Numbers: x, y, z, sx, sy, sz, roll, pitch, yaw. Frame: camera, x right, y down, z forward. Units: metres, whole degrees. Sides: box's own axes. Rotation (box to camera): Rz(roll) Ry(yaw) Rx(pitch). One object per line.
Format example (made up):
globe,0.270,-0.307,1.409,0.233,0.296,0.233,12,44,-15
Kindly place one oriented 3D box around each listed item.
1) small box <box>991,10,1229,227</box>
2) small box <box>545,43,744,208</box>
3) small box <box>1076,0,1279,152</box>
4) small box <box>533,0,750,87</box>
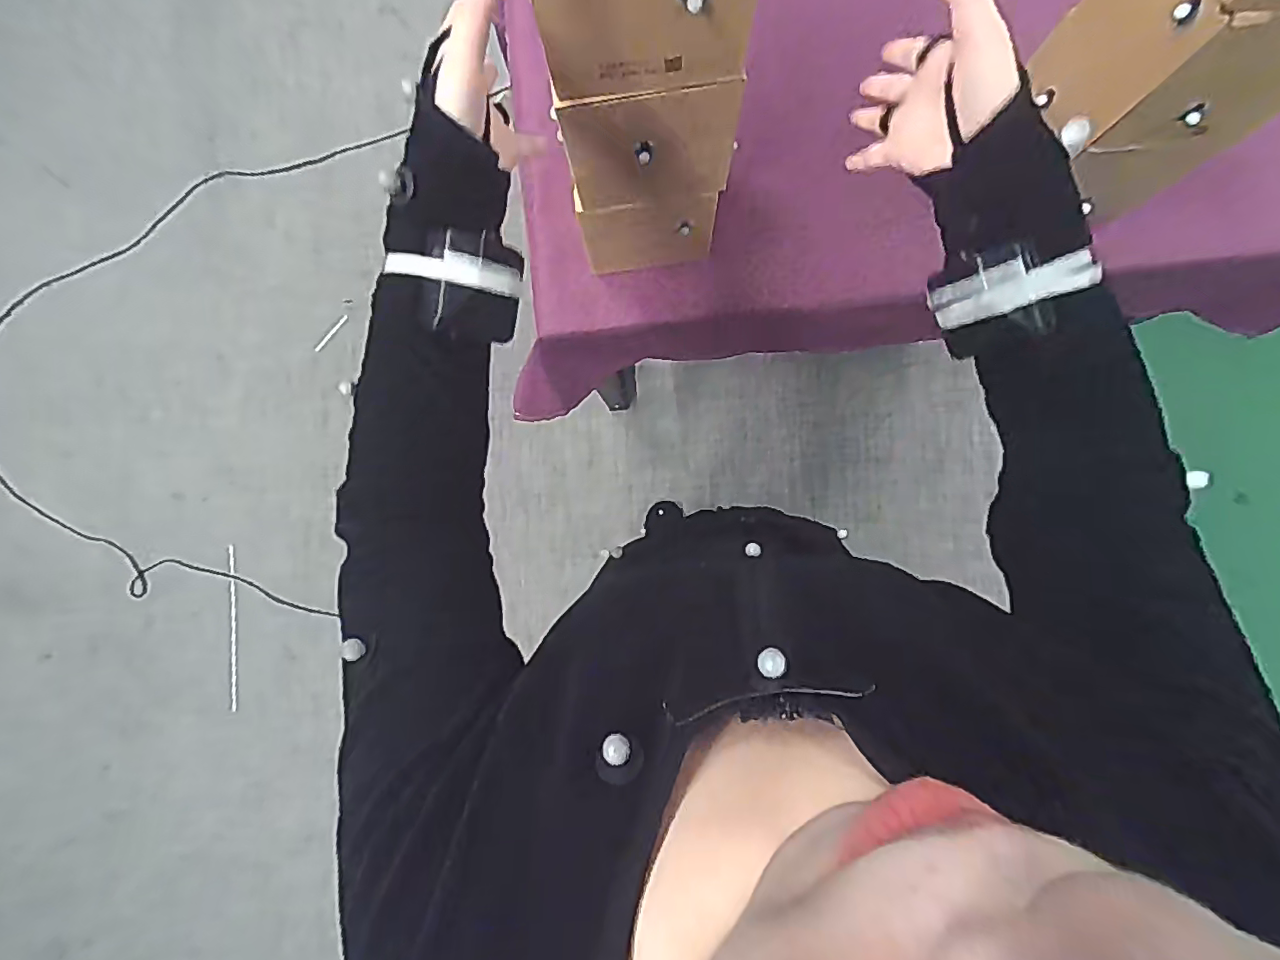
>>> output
small box,0.583,-0.455,0.696,0.168,0.176,0.179,-2,87,4
small box,0.002,-0.415,0.566,0.179,0.176,0.168,-7,86,3
small box,0.576,-0.464,0.534,0.168,0.176,0.179,-2,88,4
small box,-0.001,-0.432,0.404,0.168,0.176,0.179,-3,86,2
